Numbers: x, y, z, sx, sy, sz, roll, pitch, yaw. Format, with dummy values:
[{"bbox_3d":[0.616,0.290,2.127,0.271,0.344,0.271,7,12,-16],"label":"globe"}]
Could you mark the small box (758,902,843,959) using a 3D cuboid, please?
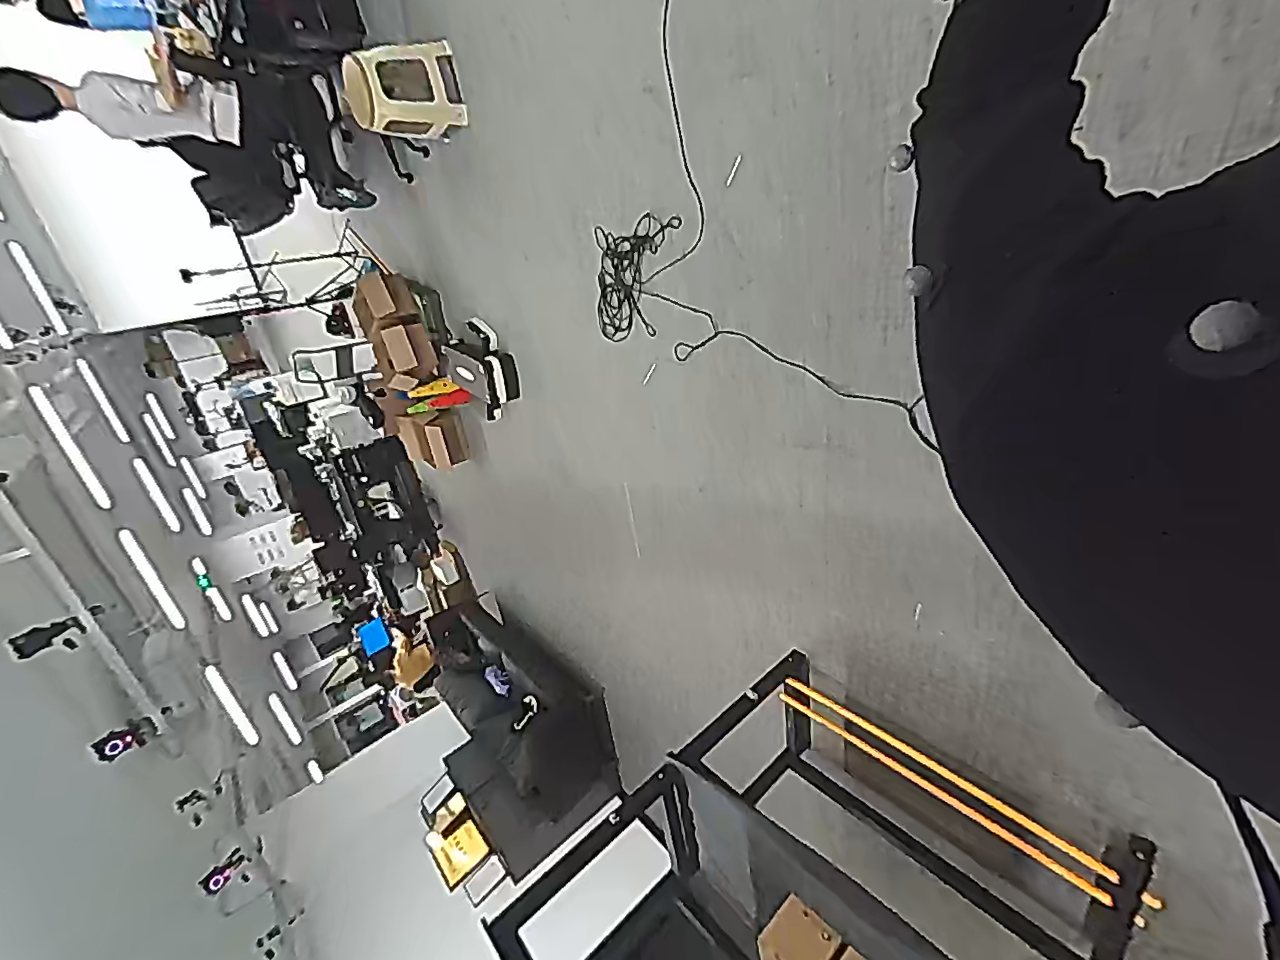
[{"bbox_3d":[0.454,1.355,1.523,0.168,0.176,0.179,18,126,49],"label":"small box"}]
